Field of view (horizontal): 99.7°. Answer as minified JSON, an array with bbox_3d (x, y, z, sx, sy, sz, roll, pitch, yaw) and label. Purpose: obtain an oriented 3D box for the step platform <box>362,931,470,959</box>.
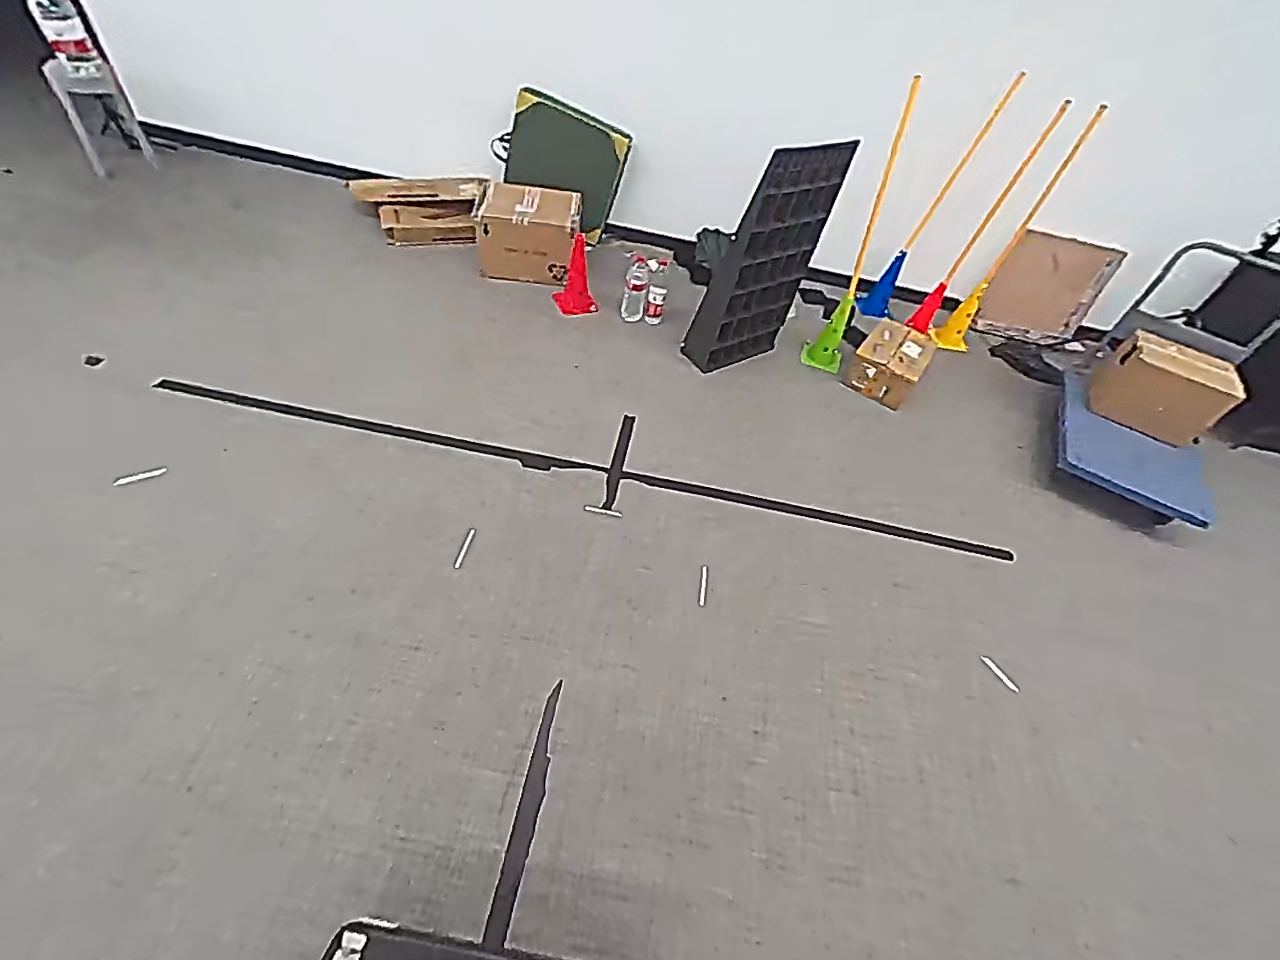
[{"bbox_3d":[-0.236,1.084,0.973,0.684,0.204,0.286,16,47,2],"label":"step platform"}]
